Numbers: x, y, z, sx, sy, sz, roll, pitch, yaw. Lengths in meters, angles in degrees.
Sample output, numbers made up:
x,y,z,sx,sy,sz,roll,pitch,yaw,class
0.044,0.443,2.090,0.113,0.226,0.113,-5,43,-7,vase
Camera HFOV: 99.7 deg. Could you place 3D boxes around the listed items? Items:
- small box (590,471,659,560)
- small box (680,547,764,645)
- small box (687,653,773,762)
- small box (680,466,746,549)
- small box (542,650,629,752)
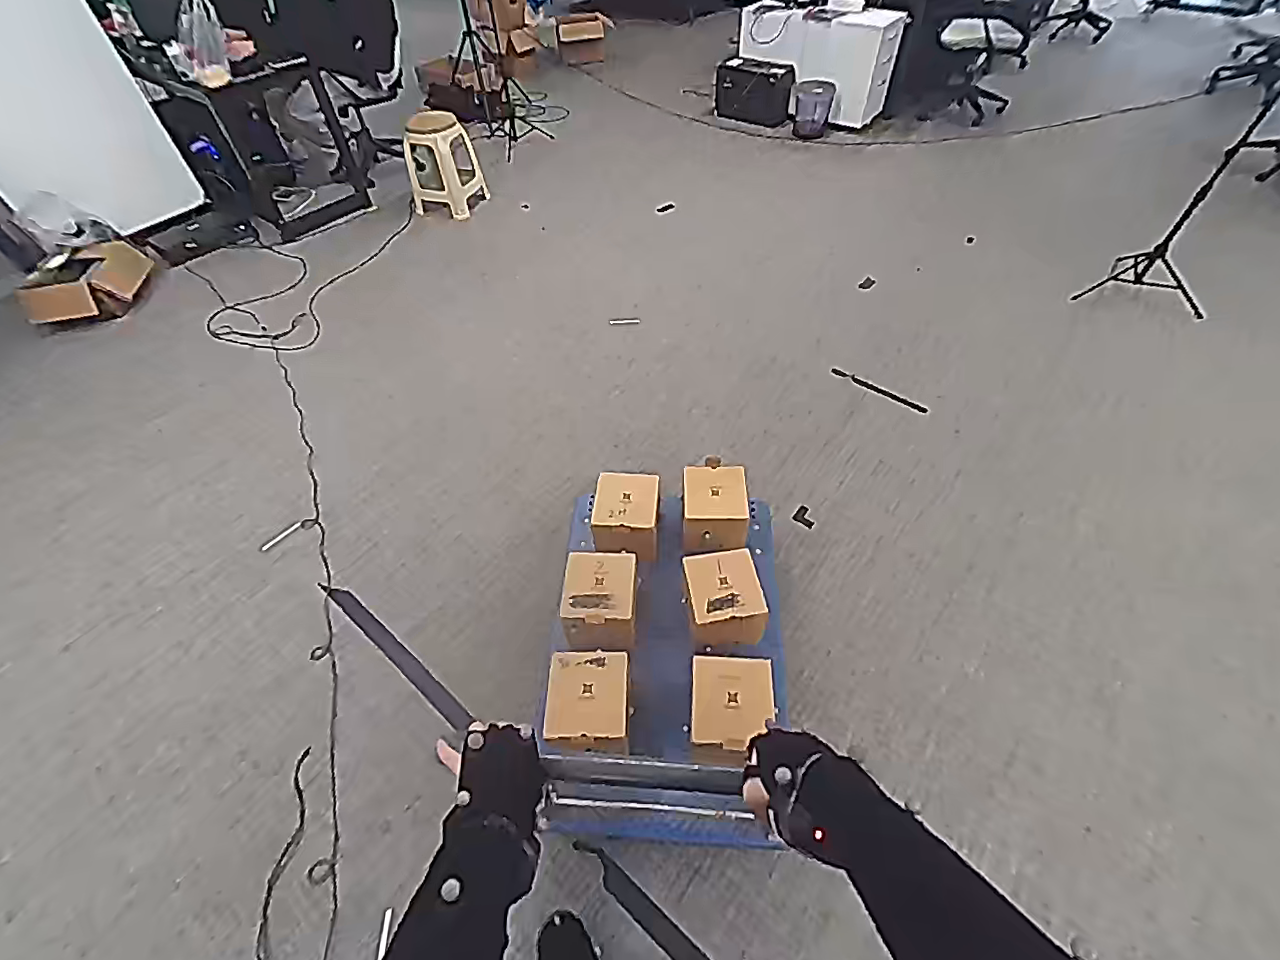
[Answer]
x,y,z,sx,sy,sz,roll,pitch,yaw,class
-0.037,0.098,1.487,0.168,0.176,0.179,3,52,5,small box
0.193,0.291,1.324,0.168,0.176,0.179,-7,51,-4,small box
0.188,0.492,1.163,0.168,0.176,0.179,3,51,4,small box
0.197,0.079,1.496,0.168,0.176,0.179,0,51,2,small box
-0.110,0.486,1.180,0.168,0.176,0.179,0,52,1,small box
